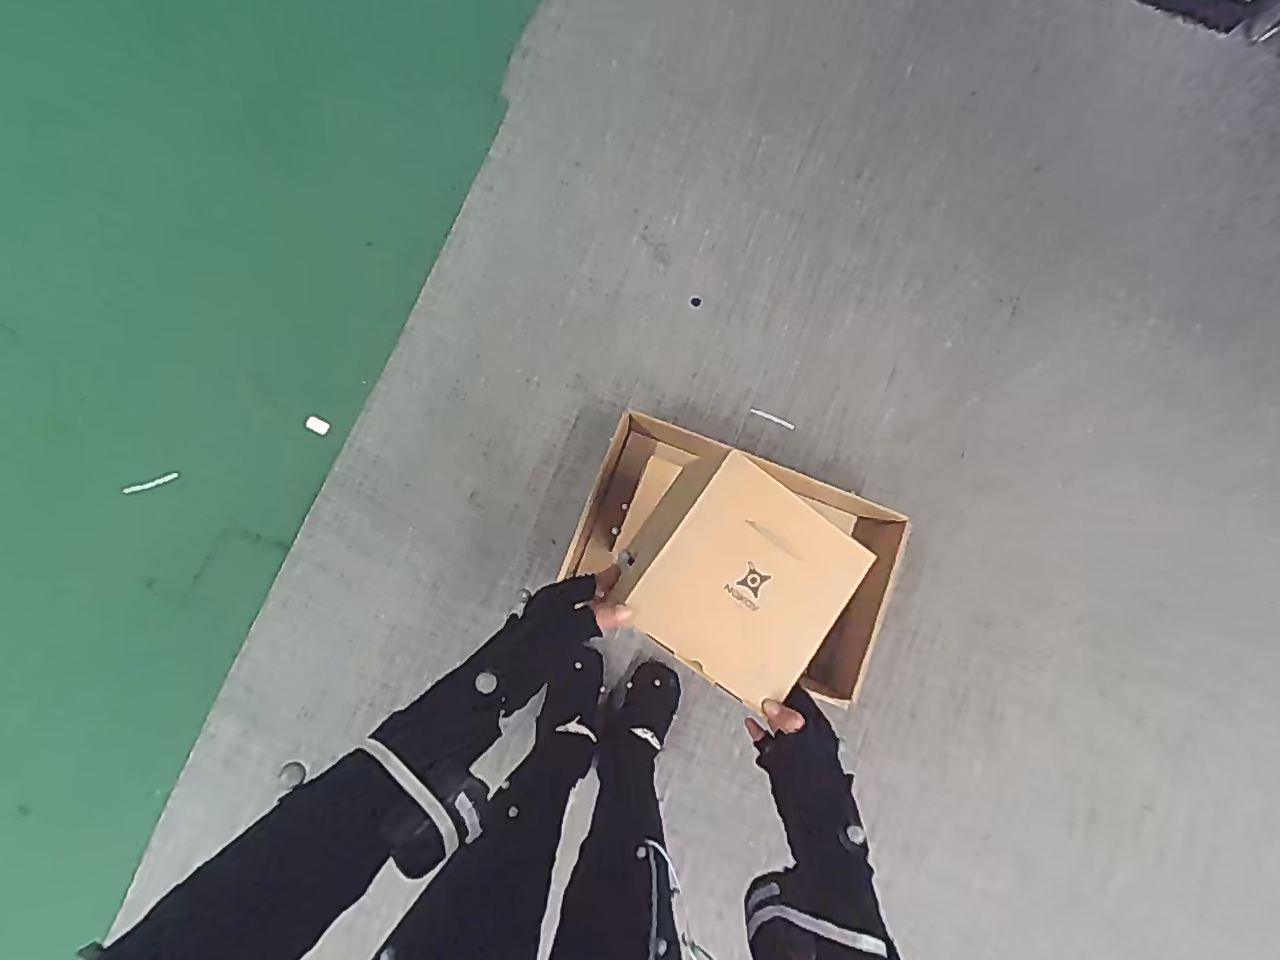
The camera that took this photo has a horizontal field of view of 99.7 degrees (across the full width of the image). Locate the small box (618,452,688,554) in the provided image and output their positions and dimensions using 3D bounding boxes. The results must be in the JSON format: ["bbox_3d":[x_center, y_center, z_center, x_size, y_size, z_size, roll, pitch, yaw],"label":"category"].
[{"bbox_3d":[0.064,0.071,0.930,0.168,0.176,0.179,21,84,-1],"label":"small box"}]

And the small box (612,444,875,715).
[{"bbox_3d":[0.085,0.088,0.540,0.168,0.176,0.179,37,83,-6],"label":"small box"}]
